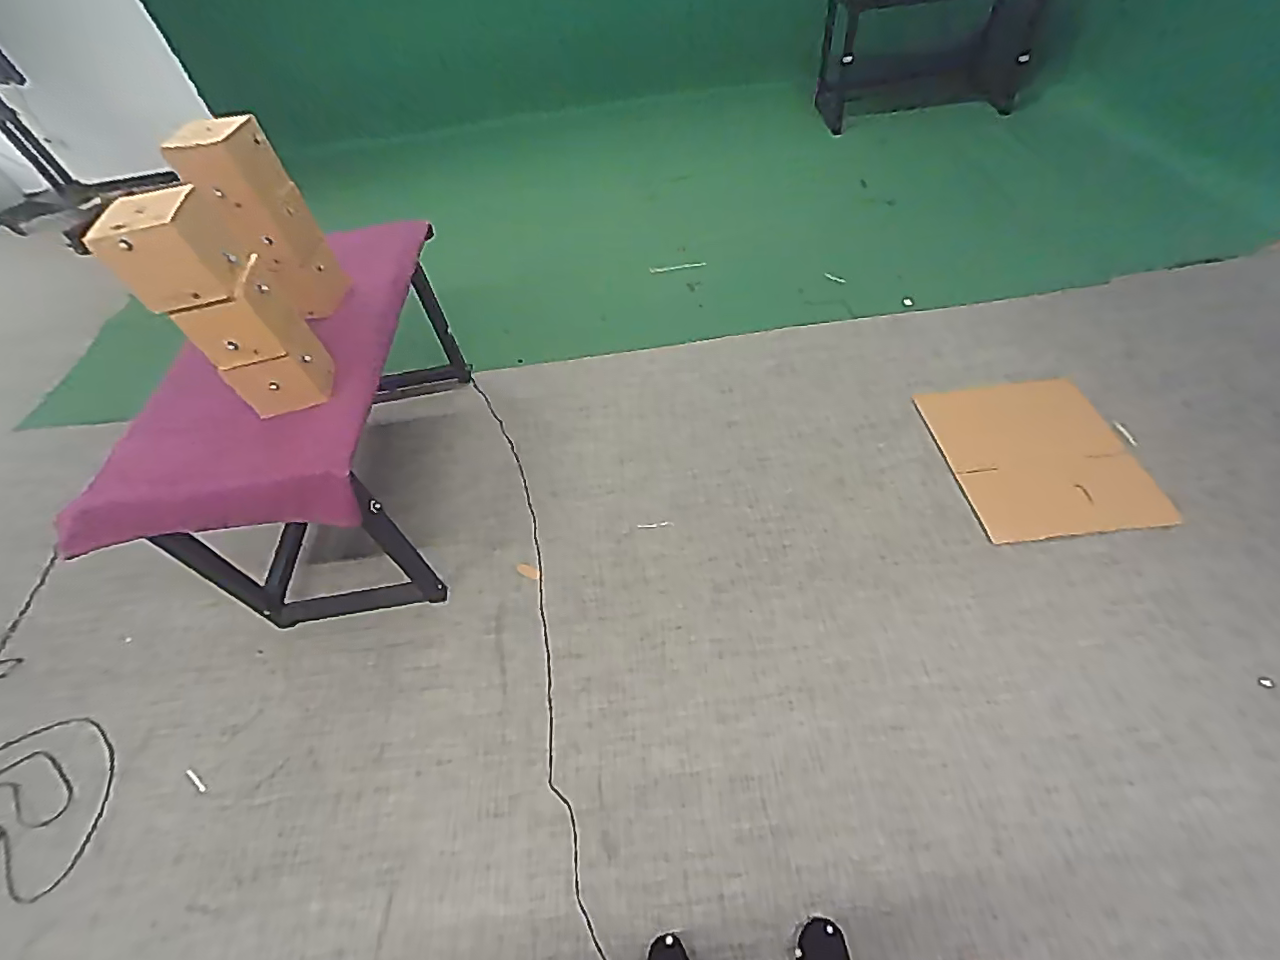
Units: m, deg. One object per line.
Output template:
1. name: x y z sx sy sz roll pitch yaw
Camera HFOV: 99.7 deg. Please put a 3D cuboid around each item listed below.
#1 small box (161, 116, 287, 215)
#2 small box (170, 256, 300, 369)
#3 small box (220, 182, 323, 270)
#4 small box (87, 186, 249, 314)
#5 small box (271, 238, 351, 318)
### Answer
1. small box: -1.060 -0.811 1.400 0.168 0.176 0.179 -4 52 4
2. small box: -0.931 -0.388 1.263 0.168 0.176 0.179 -14 53 -2
3. small box: -1.040 -0.711 1.530 0.168 0.176 0.179 -3 52 4
4. small box: -0.964 -0.477 1.128 0.168 0.176 0.179 -14 52 -1
5. small box: -1.026 -0.613 1.658 0.168 0.176 0.179 -3 51 5
